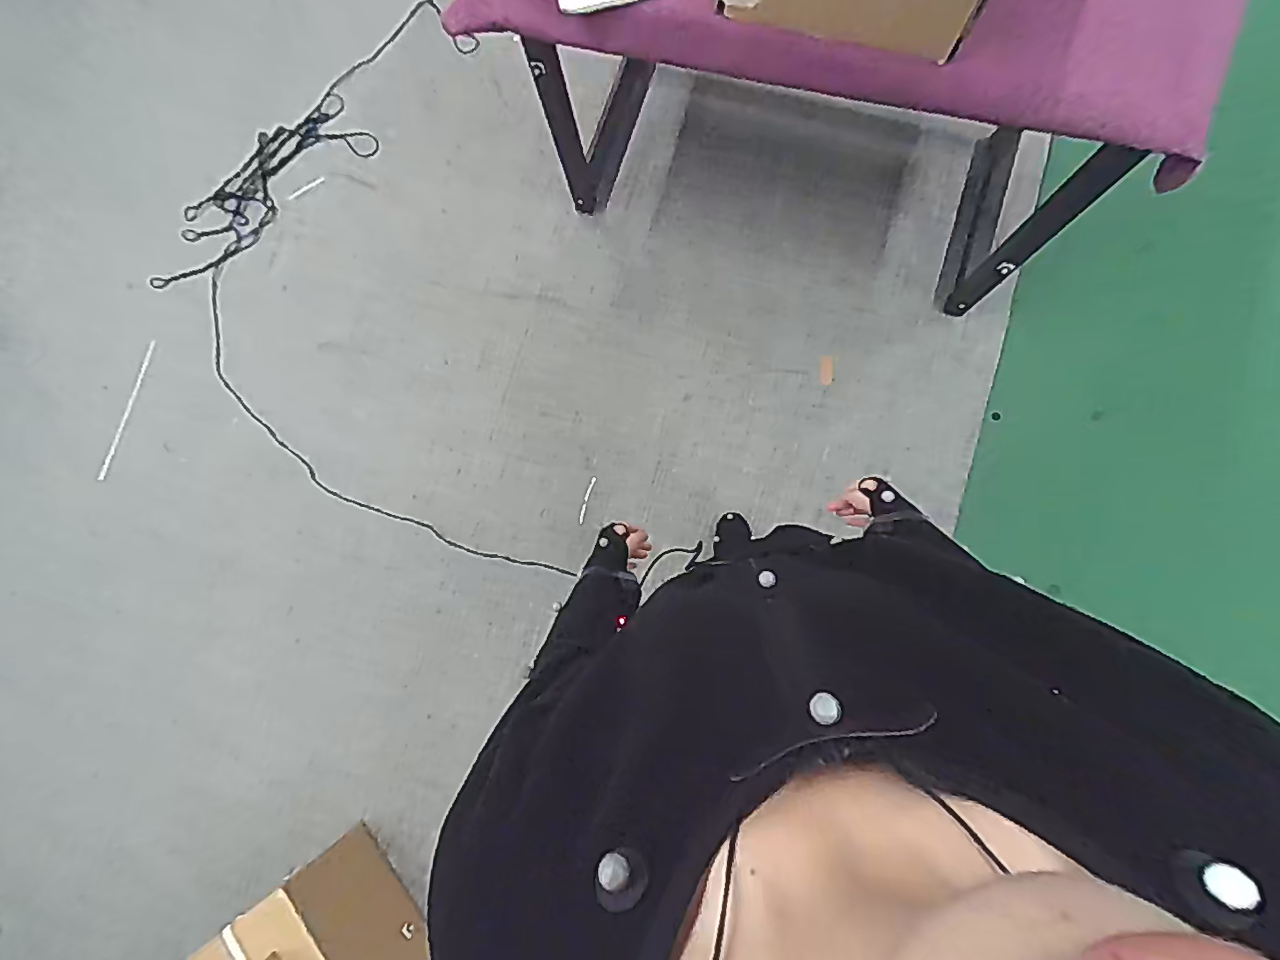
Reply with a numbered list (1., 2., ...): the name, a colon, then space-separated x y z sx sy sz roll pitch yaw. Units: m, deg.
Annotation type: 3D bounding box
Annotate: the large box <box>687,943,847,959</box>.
1. large box: 0.304 1.306 1.191 0.408 0.320 0.320 3 83 4
